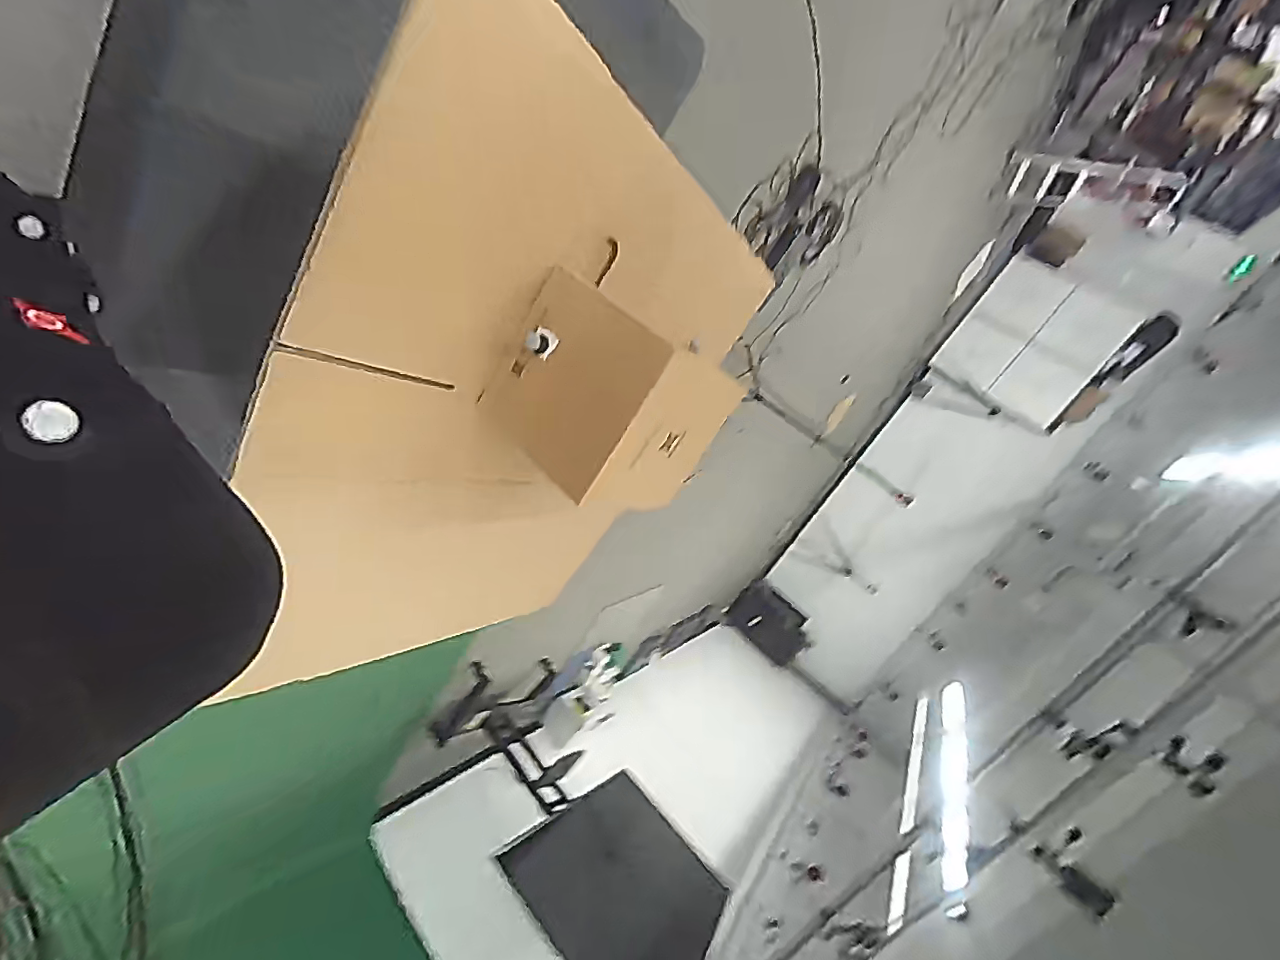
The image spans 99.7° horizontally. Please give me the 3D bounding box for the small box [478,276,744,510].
[{"bbox_3d":[-0.029,-0.084,0.563,0.168,0.176,0.179,-57,153,16],"label":"small box"}]
